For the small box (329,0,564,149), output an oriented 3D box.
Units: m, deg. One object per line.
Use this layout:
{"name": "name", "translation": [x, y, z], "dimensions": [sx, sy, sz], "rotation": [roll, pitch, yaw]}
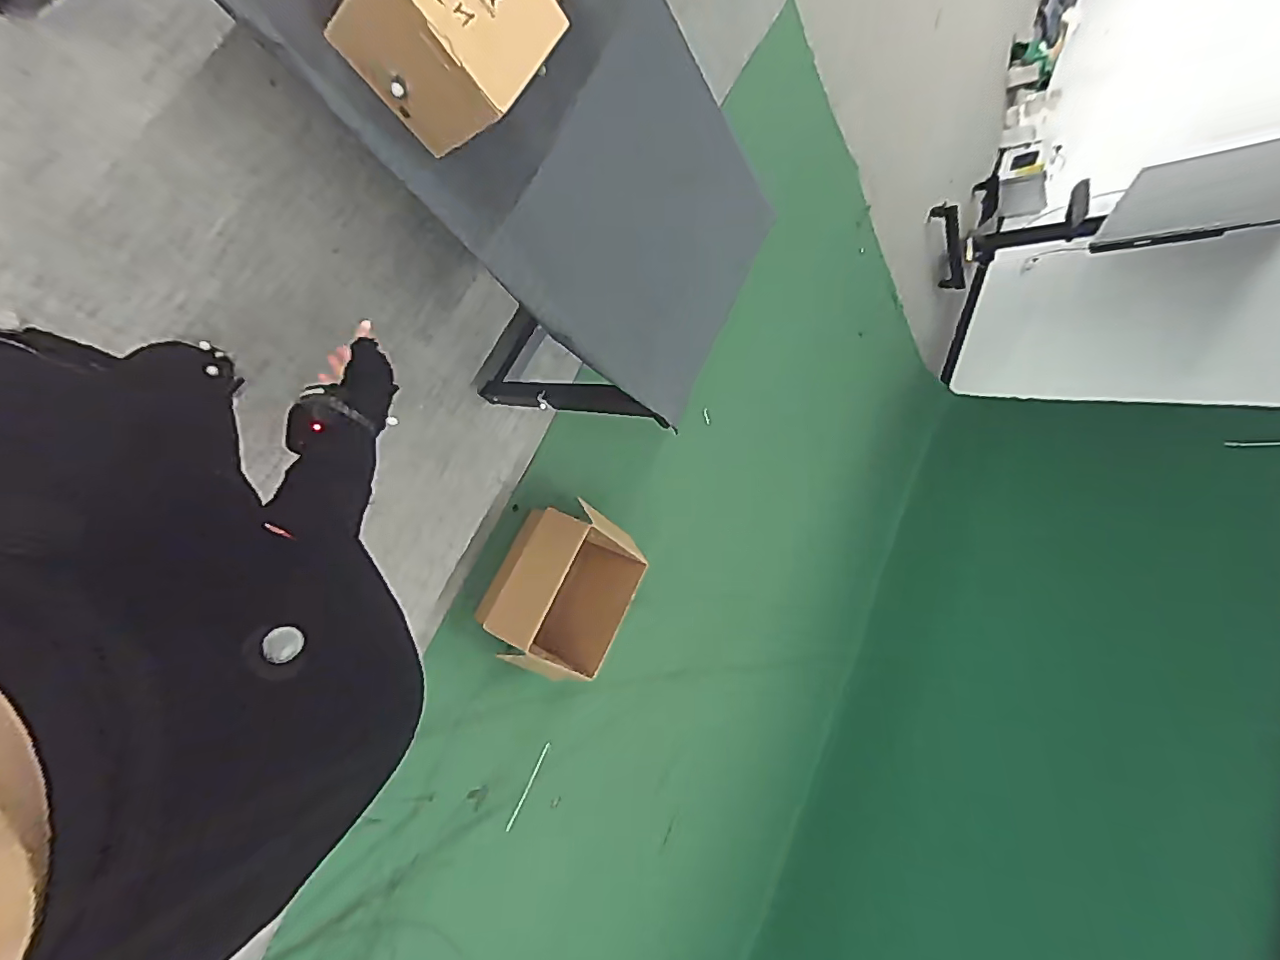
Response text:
{"name": "small box", "translation": [-0.230, -0.542, 0.643], "dimensions": [0.168, 0.176, 0.179], "rotation": [41, 68, -42]}
